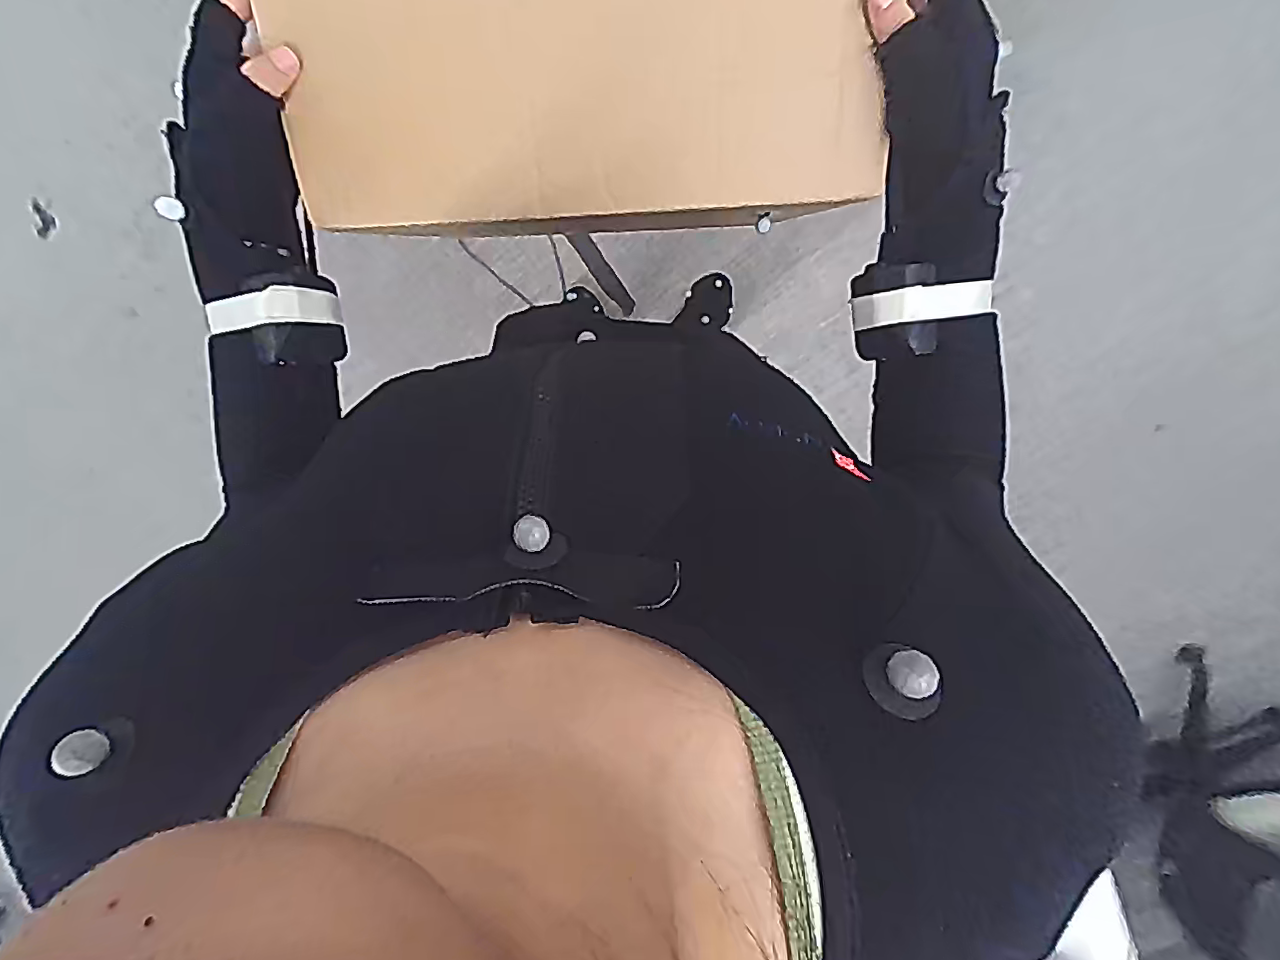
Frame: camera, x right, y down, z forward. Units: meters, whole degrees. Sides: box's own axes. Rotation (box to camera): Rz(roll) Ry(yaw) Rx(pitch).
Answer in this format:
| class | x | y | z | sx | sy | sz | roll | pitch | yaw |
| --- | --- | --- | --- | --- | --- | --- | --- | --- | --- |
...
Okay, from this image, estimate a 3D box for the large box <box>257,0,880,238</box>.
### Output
| class | x | y | z | sx | sy | sz | roll | pitch | yaw |
| --- | --- | --- | --- | --- | --- | --- | --- | --- | --- |
| large box | -0.046 | -0.393 | 0.469 | 0.408 | 0.320 | 0.320 | -3 | 113 | 1 |
